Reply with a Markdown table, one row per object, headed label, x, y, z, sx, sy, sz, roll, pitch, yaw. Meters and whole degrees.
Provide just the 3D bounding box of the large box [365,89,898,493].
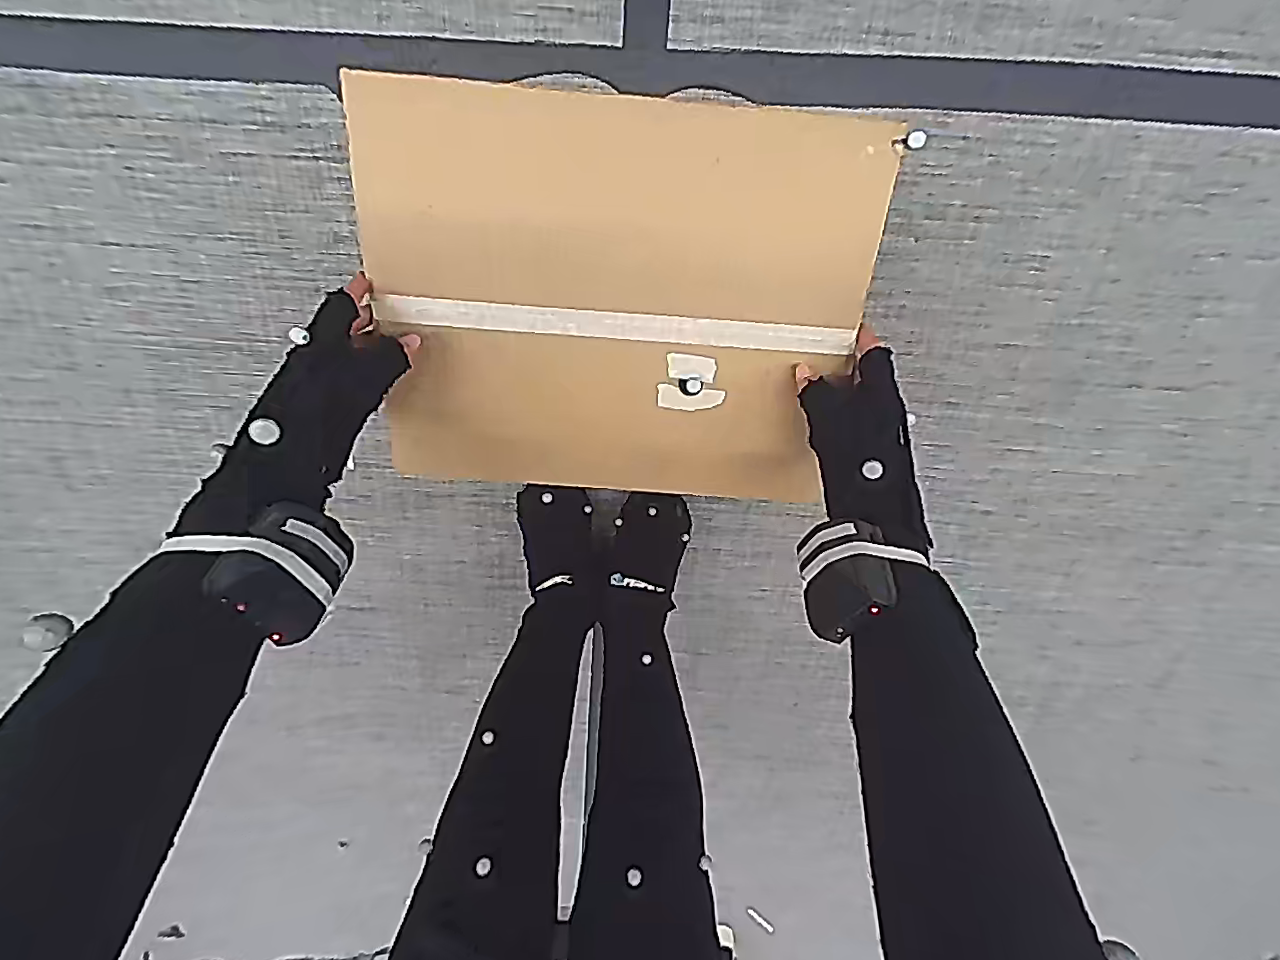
| label | x | y | z | sx | sy | sz | roll | pitch | yaw |
| --- | --- | --- | --- | --- | --- | --- | --- | --- | --- |
| large box | -0.015 | -0.197 | 0.595 | 0.408 | 0.320 | 0.320 | 4 | 116 | -2 |
